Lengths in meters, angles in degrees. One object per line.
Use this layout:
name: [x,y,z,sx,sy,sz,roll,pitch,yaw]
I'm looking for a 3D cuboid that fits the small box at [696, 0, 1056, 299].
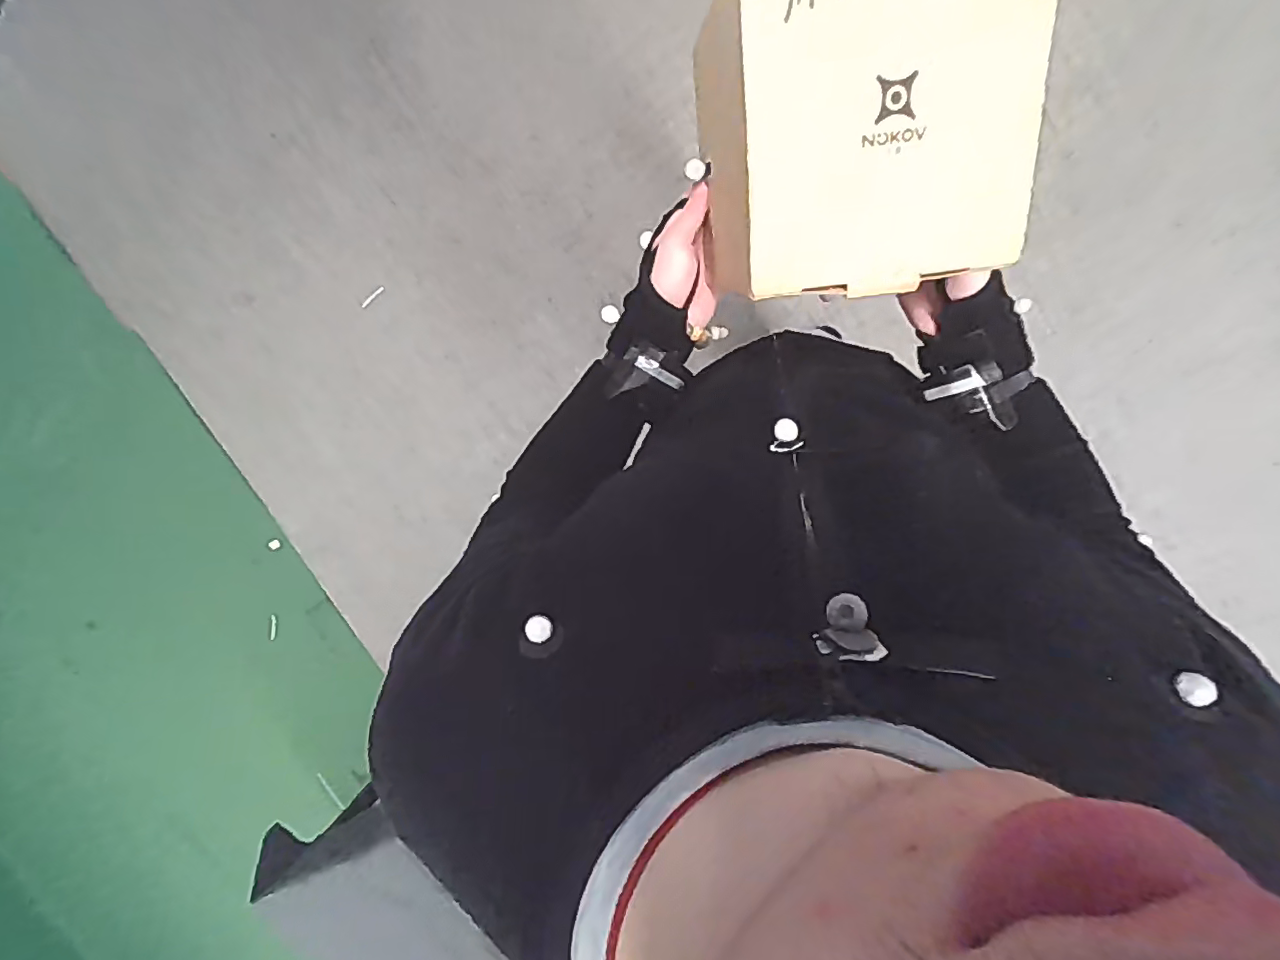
small box: [0.135,-0.232,0.373,0.168,0.176,0.179,-7,114,-1]
